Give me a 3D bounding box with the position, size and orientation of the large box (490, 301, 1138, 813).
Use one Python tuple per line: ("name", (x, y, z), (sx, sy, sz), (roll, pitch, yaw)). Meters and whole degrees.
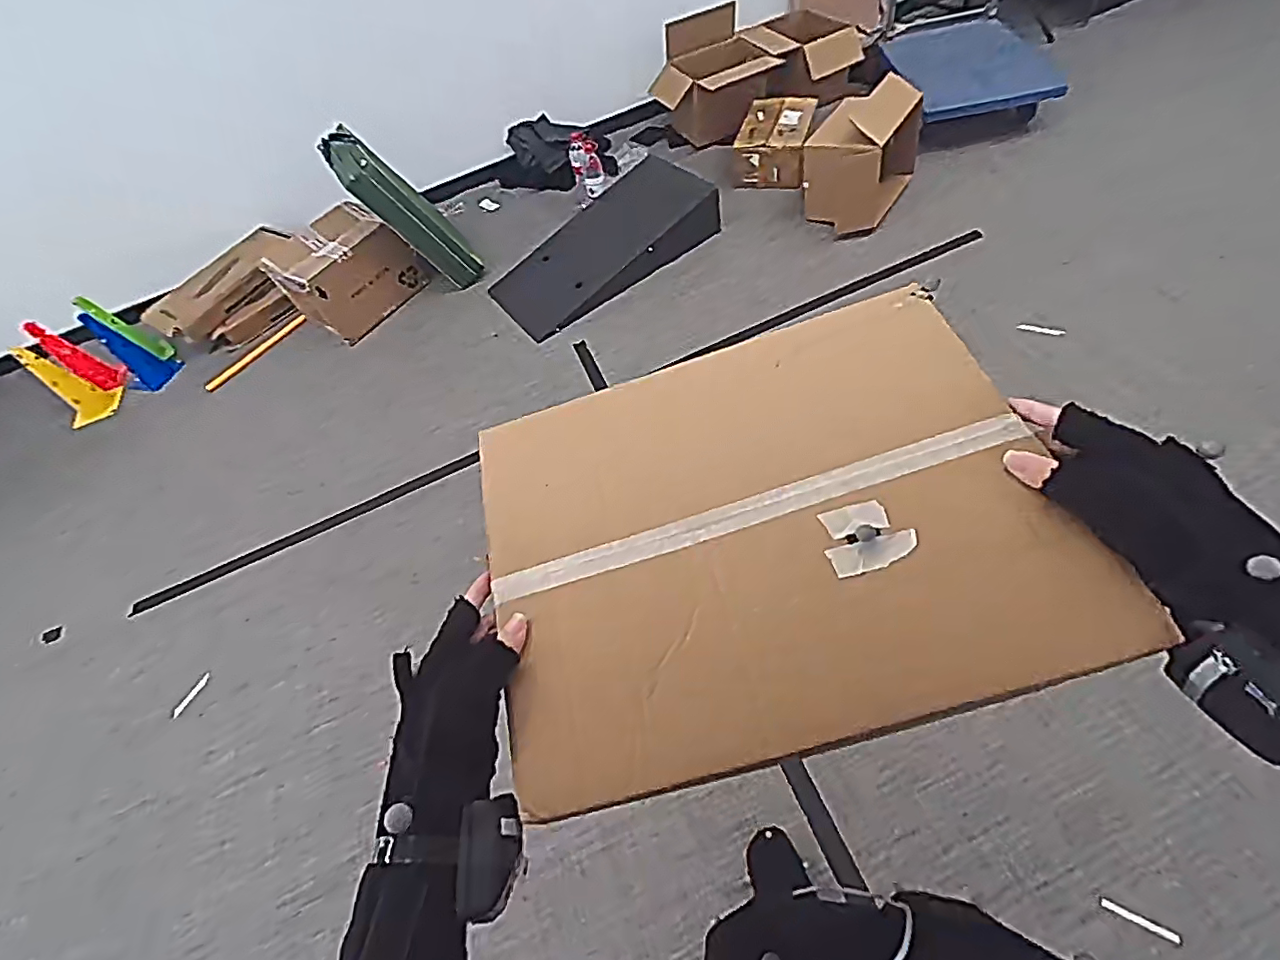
("large box", (0.113, 0.098, 0.543), (0.408, 0.320, 0.320), (-18, 60, 4))
